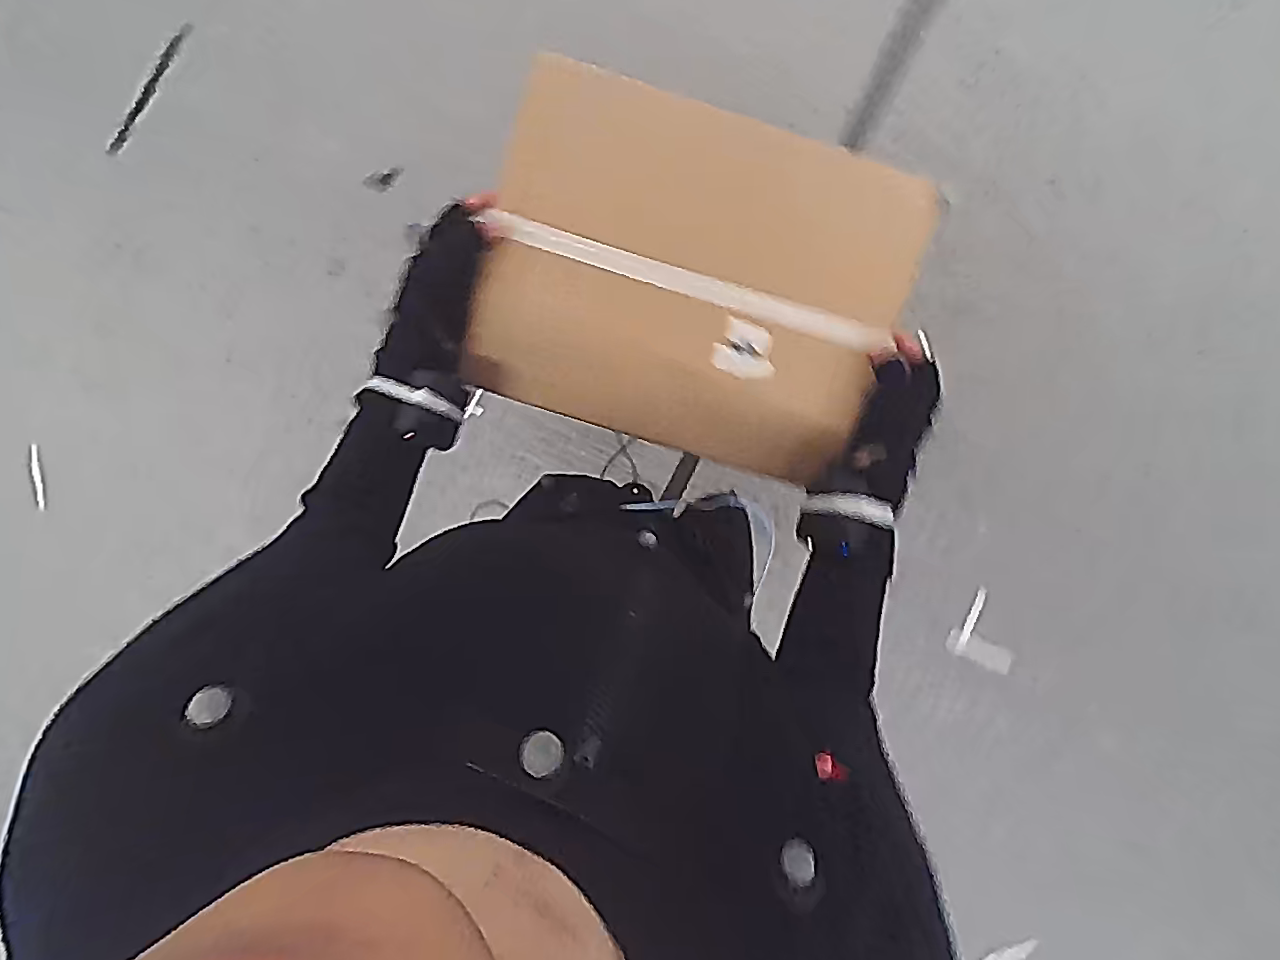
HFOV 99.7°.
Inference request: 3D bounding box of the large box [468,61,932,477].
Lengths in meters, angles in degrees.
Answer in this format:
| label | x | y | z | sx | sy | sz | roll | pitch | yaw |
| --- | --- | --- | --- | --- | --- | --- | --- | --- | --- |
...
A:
| label | x | y | z | sx | sy | sz | roll | pitch | yaw |
| --- | --- | --- | --- | --- | --- | --- | --- | --- | --- |
| large box | 0.052 | -0.220 | 0.683 | 0.408 | 0.320 | 0.320 | 17 | 99 | -3 |
